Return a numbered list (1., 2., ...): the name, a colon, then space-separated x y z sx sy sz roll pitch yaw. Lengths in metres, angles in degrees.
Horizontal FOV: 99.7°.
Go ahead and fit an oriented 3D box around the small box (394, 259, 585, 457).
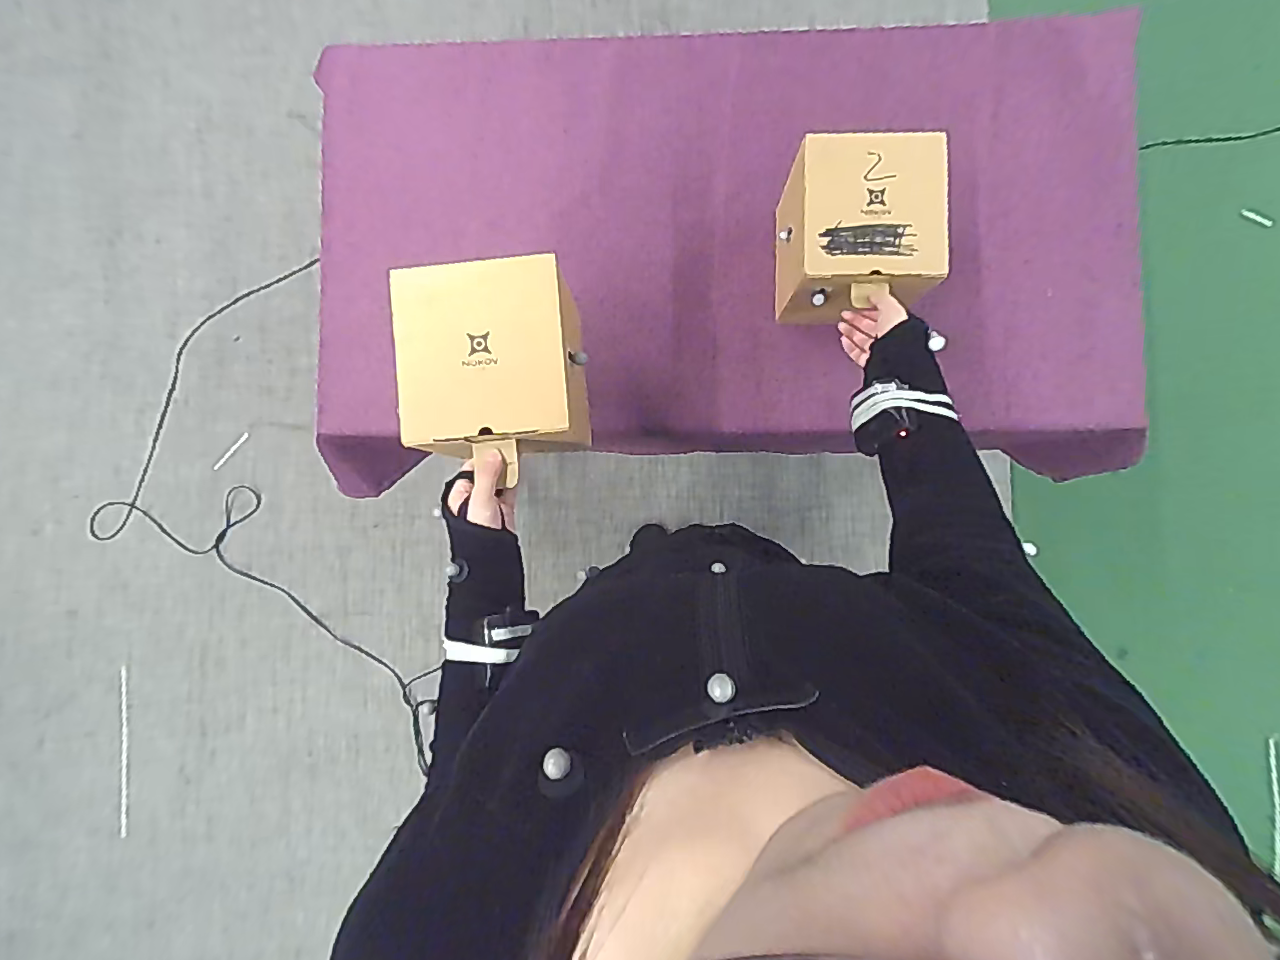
1. small box: -0.158 -0.126 0.617 0.168 0.176 0.179 -5 88 1
